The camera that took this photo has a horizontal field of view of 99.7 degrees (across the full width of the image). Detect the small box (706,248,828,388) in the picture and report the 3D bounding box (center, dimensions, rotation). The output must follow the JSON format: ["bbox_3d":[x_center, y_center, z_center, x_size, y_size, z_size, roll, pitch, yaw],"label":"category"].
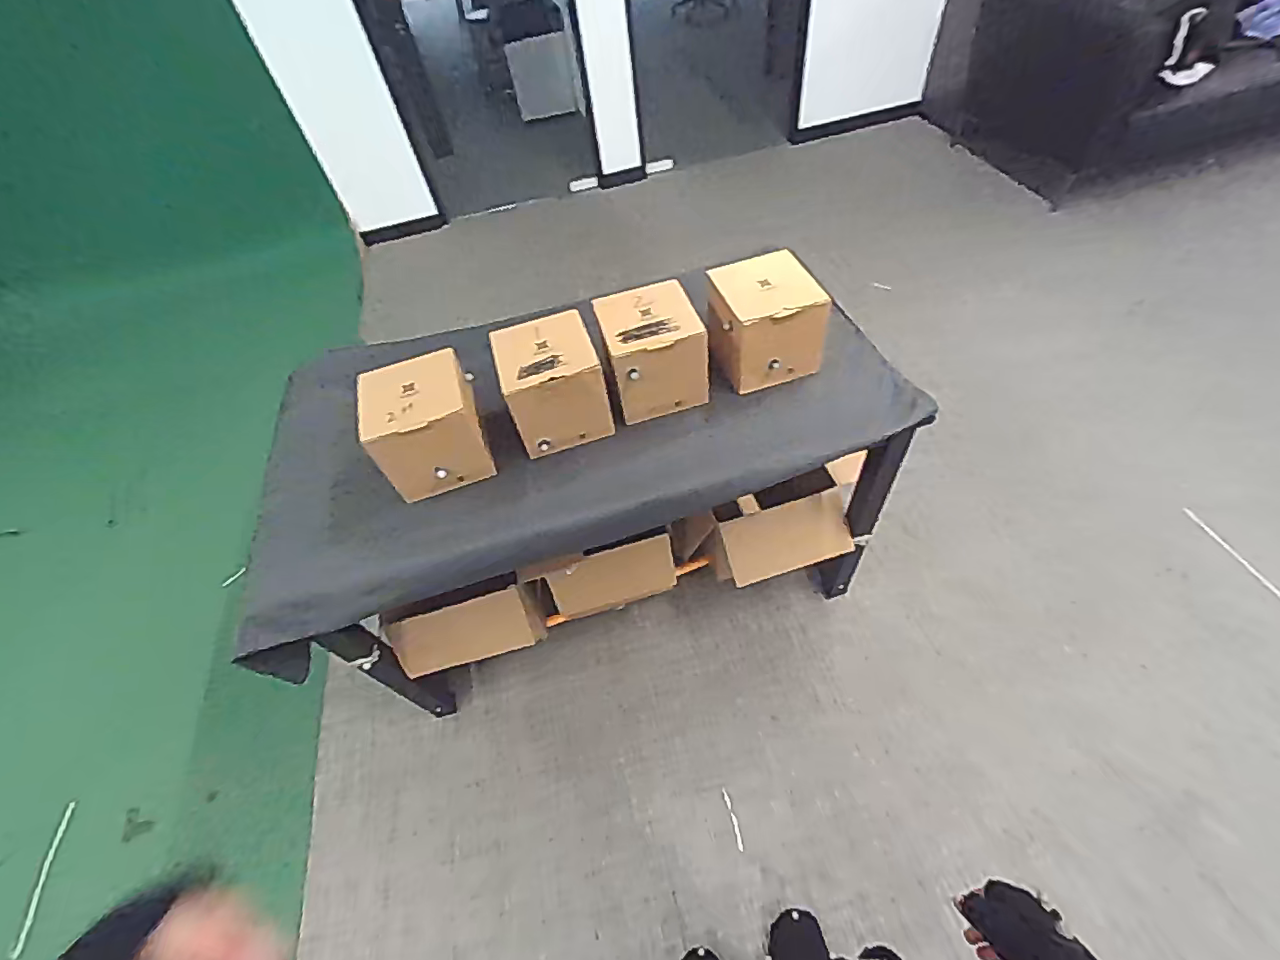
[{"bbox_3d":[0.231,-0.305,1.031,0.168,0.176,0.179,-17,53,-5],"label":"small box"}]

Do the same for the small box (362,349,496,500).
[{"bbox_3d":[-0.371,-0.096,0.960,0.168,0.176,0.179,-20,53,-6],"label":"small box"}]
